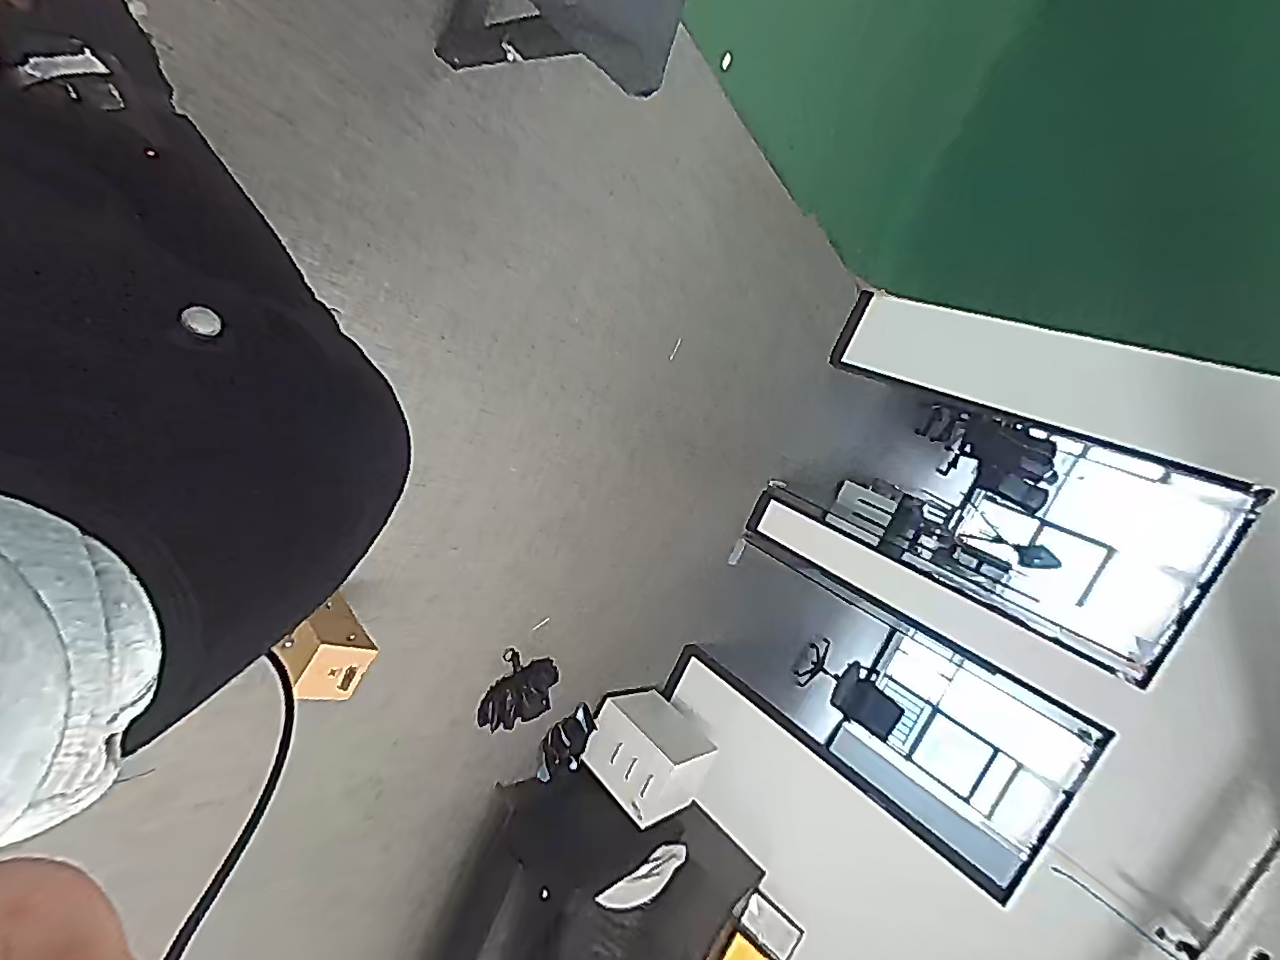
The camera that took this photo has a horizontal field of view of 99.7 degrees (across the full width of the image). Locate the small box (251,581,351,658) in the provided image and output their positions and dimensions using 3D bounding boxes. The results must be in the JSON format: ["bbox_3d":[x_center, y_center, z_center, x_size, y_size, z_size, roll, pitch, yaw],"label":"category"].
[{"bbox_3d":[-1.024,0.424,1.631,0.179,0.176,0.168,33,86,-53],"label":"small box"}]

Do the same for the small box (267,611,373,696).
[{"bbox_3d":[-0.909,0.490,1.534,0.168,0.176,0.179,-59,144,-3],"label":"small box"}]
